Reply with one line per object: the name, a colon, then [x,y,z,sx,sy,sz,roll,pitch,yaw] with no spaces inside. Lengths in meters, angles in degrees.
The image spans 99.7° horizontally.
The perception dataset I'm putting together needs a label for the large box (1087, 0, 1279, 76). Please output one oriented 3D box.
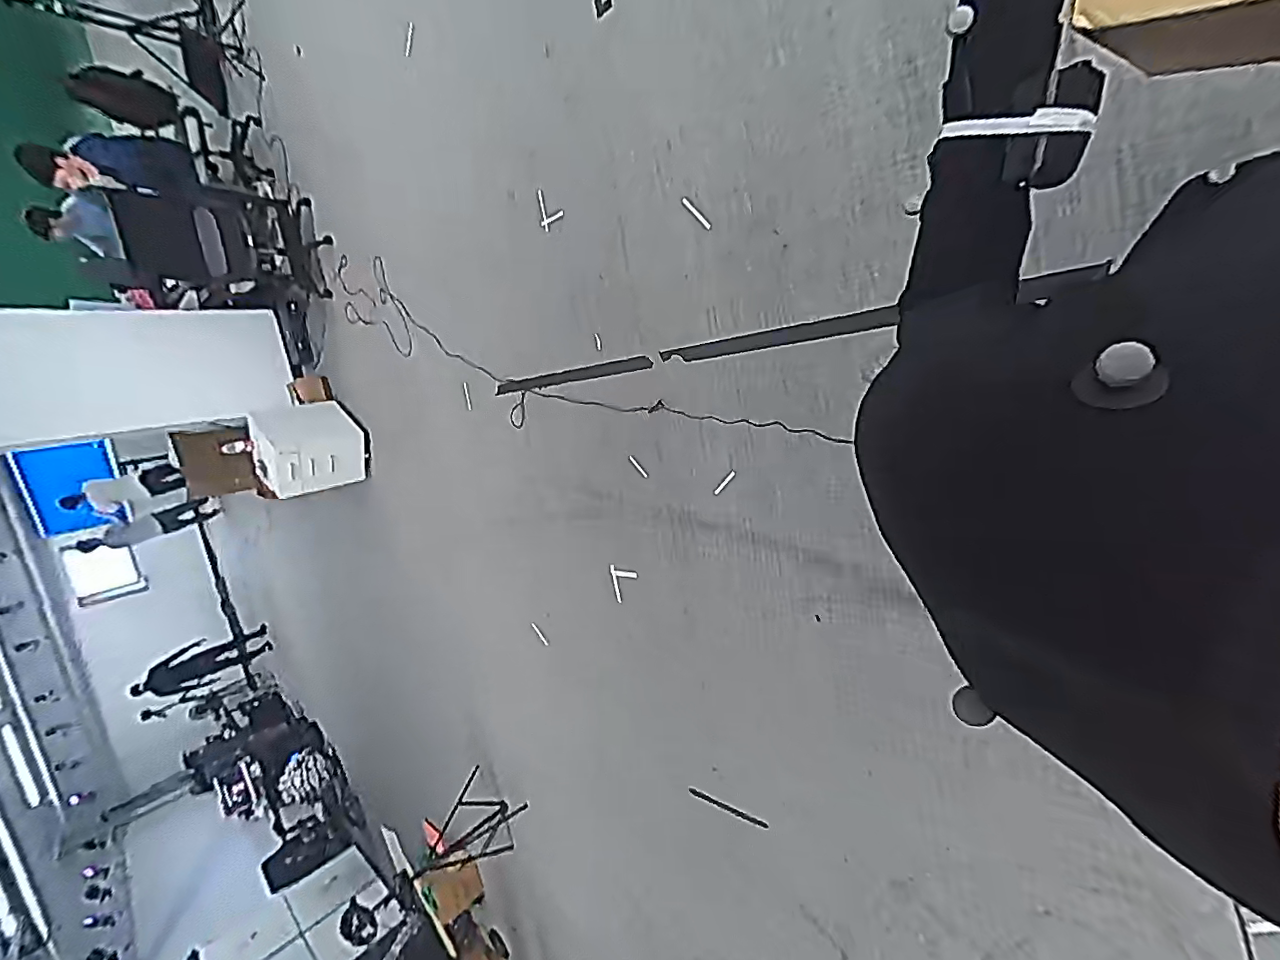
large box: [0.503,-0.403,0.223,0.408,0.320,0.320,23,128,39]
